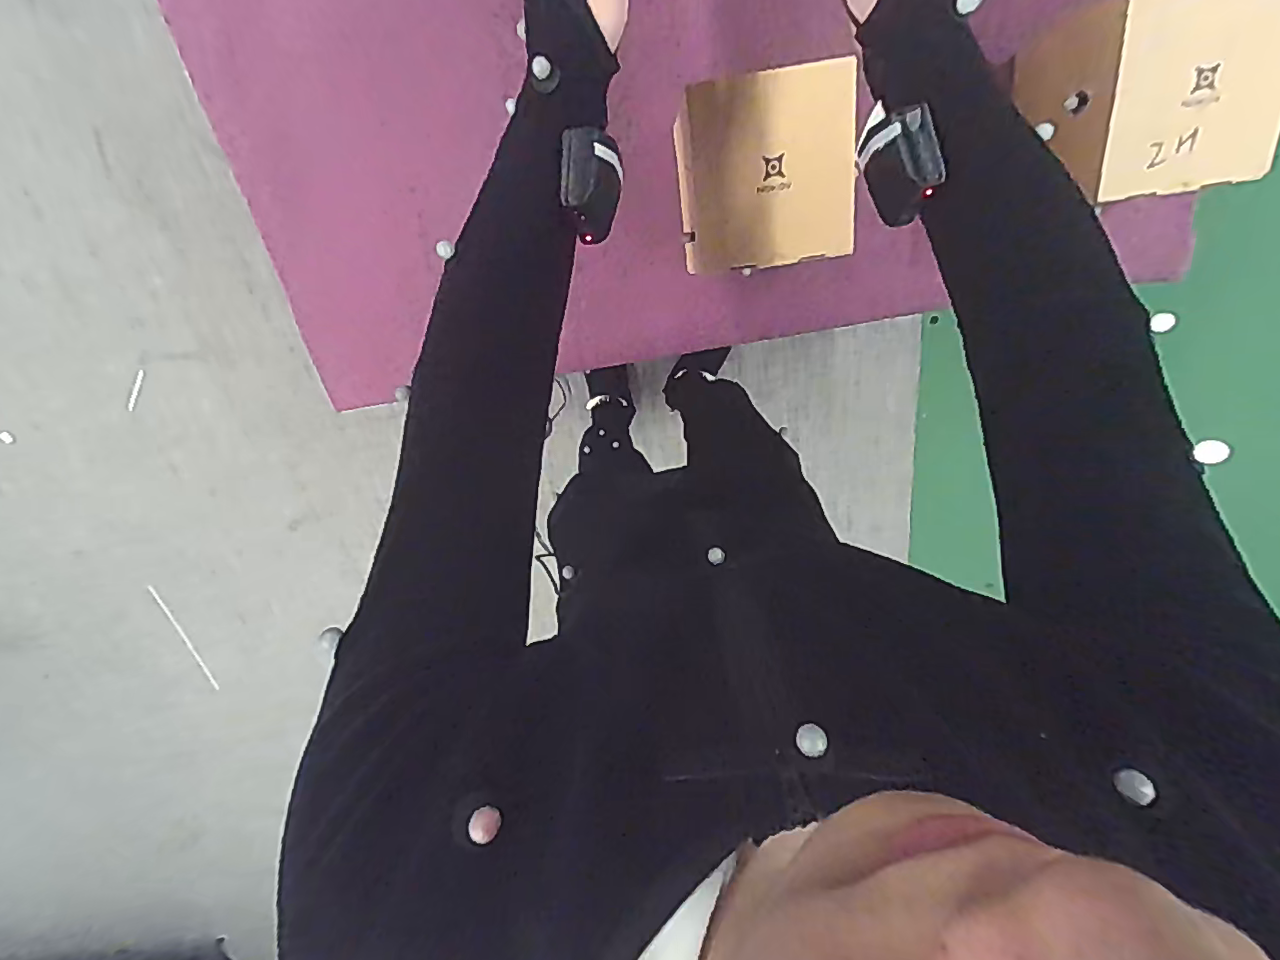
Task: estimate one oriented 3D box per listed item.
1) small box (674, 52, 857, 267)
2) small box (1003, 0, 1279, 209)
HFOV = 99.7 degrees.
[{"bbox_3d":[0.133,-0.347,0.618,0.168,0.176,0.179,-7,114,3],"label":"small box"},{"bbox_3d":[0.532,-0.406,0.587,0.168,0.176,0.179,-6,113,4],"label":"small box"}]
